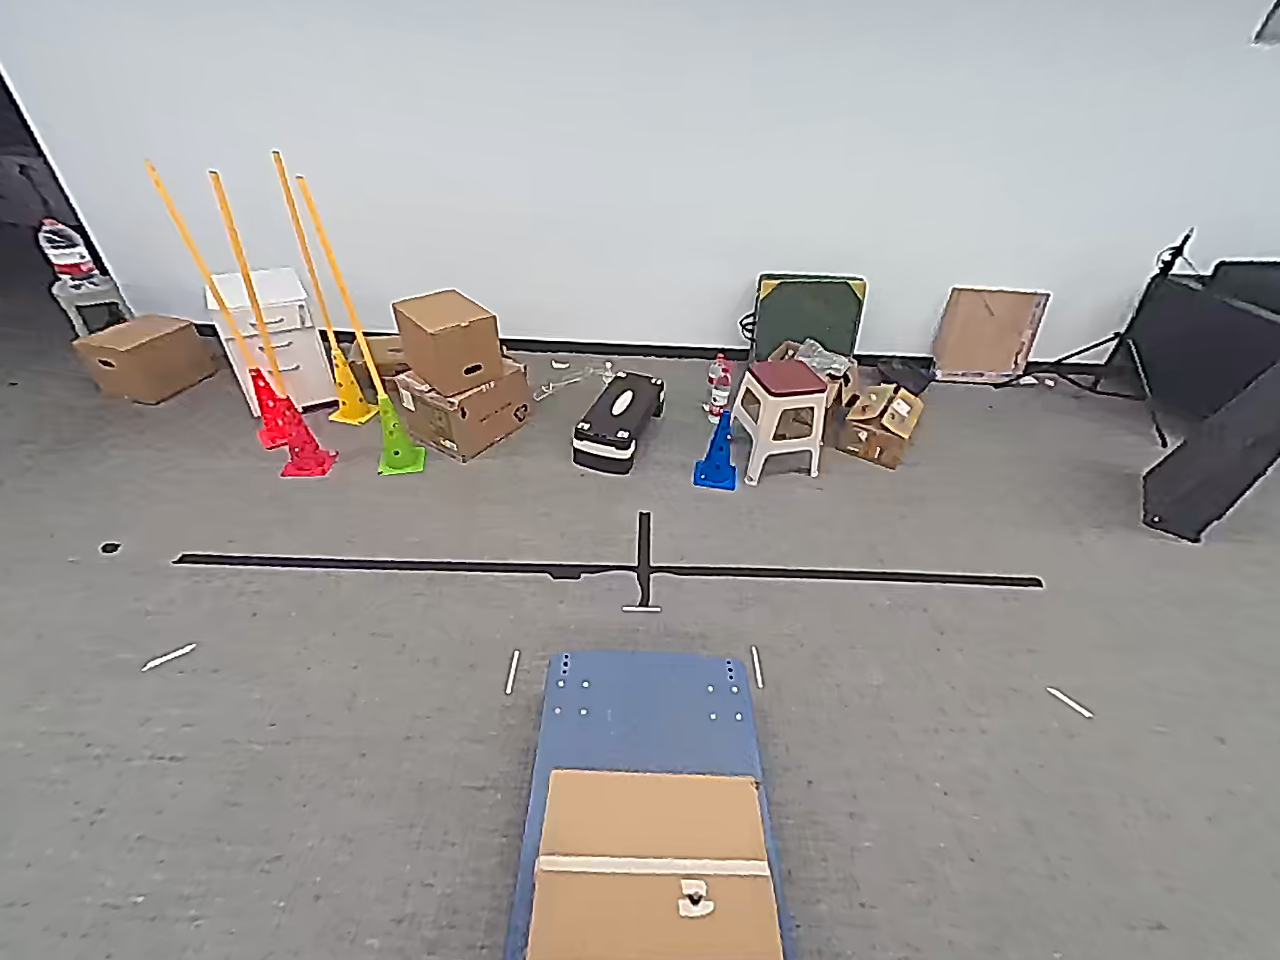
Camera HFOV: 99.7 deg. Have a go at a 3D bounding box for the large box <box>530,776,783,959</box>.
[{"bbox_3d":[0.014,0.793,1.023,0.408,0.320,0.320,3,39,-3],"label":"large box"}]
